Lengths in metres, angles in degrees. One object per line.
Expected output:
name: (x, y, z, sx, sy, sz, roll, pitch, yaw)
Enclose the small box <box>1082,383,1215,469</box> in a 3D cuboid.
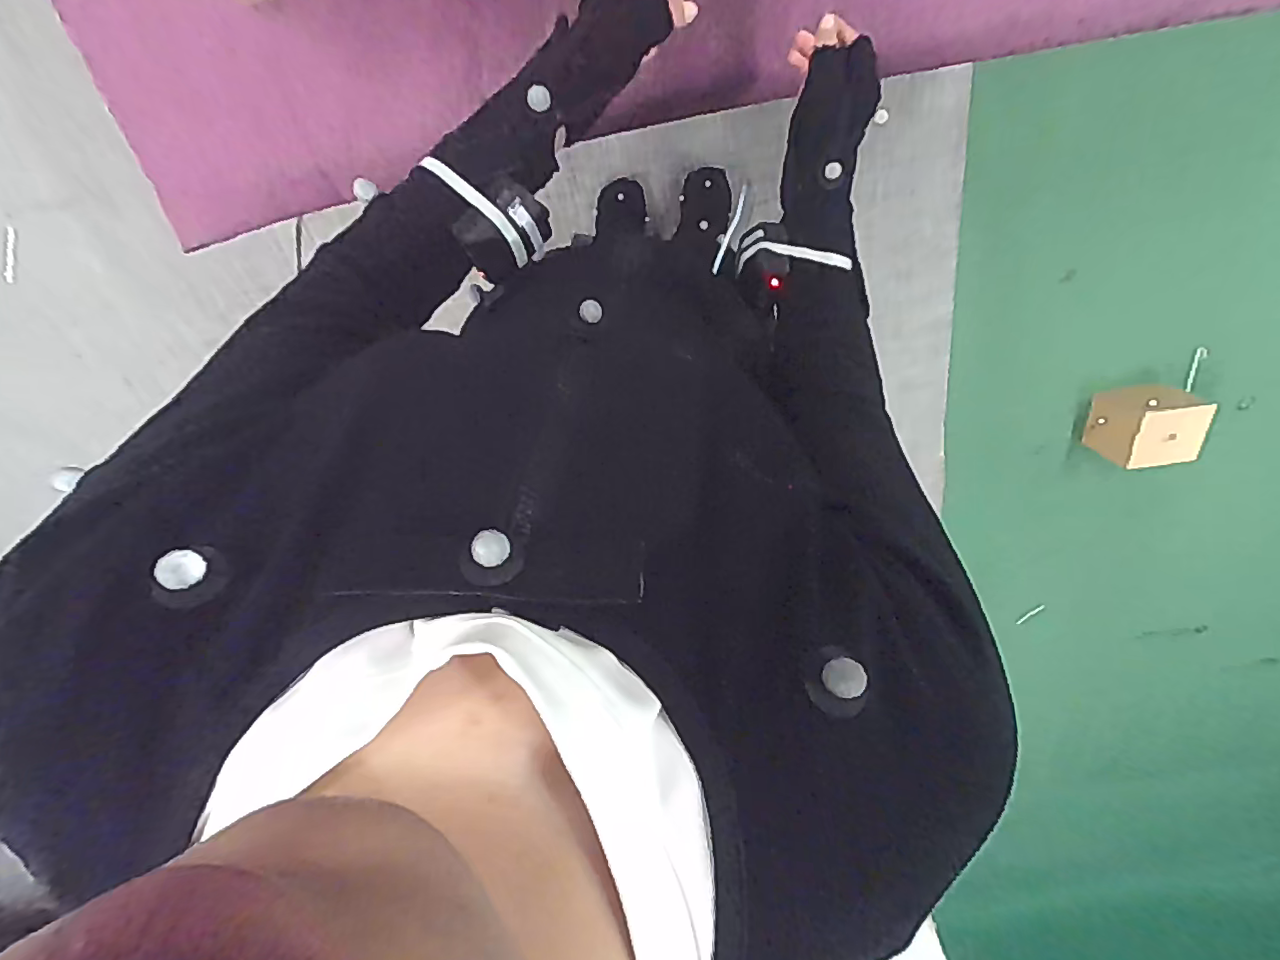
small box: (1.357, -0.149, 1.457, 0.179, 0.176, 0.168, -8, 120, 4)
